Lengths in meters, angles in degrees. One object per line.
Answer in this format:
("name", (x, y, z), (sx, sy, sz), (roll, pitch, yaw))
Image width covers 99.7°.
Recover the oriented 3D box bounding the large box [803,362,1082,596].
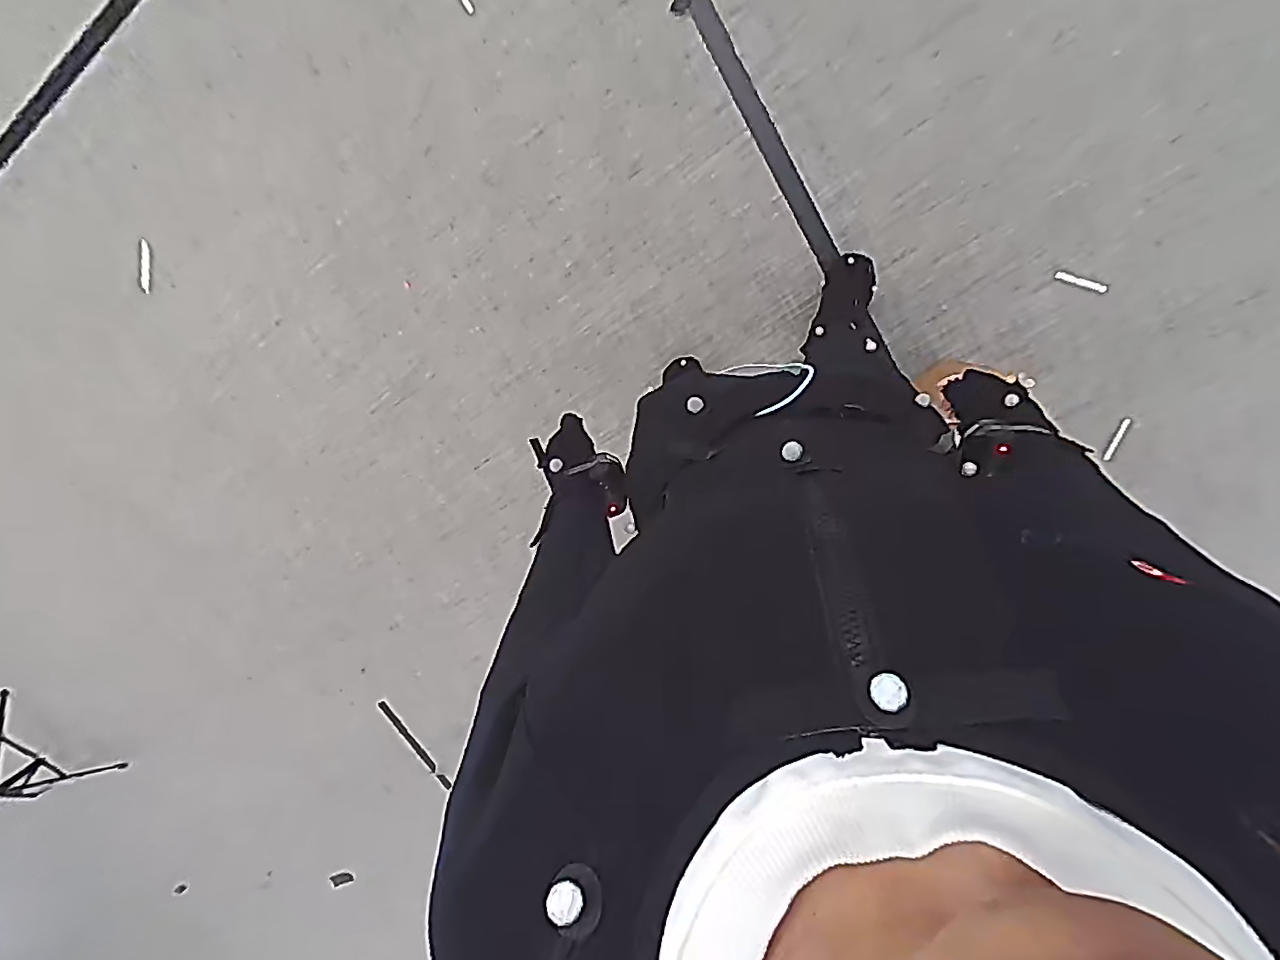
("large box", (0.654, -0.017, 1.247), (0.408, 0.320, 0.320), (-39, 101, 14))
